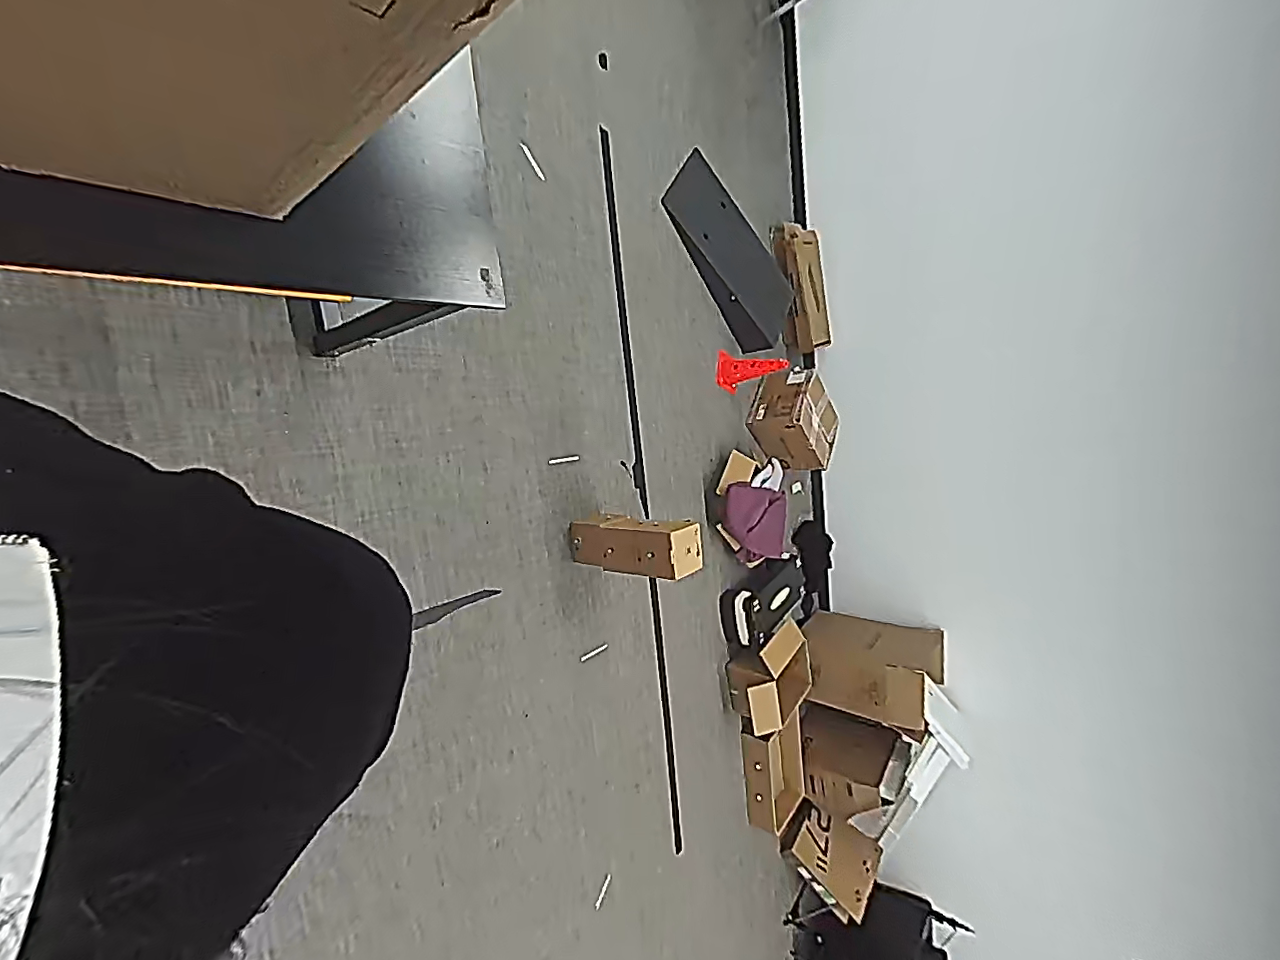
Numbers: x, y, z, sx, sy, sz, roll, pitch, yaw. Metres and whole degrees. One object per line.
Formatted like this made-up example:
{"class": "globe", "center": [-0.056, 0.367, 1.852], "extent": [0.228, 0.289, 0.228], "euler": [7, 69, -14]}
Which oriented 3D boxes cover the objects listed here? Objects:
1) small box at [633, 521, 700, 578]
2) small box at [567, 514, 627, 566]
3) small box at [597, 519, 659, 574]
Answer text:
{"class": "small box", "center": [0.087, 0.239, 1.901], "extent": [0.179, 0.176, 0.168], "euler": [-12, 99, -49]}
{"class": "small box", "center": [-0.161, 0.231, 2.118], "extent": [0.179, 0.176, 0.168], "euler": [-13, 100, -49]}
{"class": "small box", "center": [-0.038, 0.240, 2.007], "extent": [0.179, 0.176, 0.168], "euler": [-13, 99, -50]}
